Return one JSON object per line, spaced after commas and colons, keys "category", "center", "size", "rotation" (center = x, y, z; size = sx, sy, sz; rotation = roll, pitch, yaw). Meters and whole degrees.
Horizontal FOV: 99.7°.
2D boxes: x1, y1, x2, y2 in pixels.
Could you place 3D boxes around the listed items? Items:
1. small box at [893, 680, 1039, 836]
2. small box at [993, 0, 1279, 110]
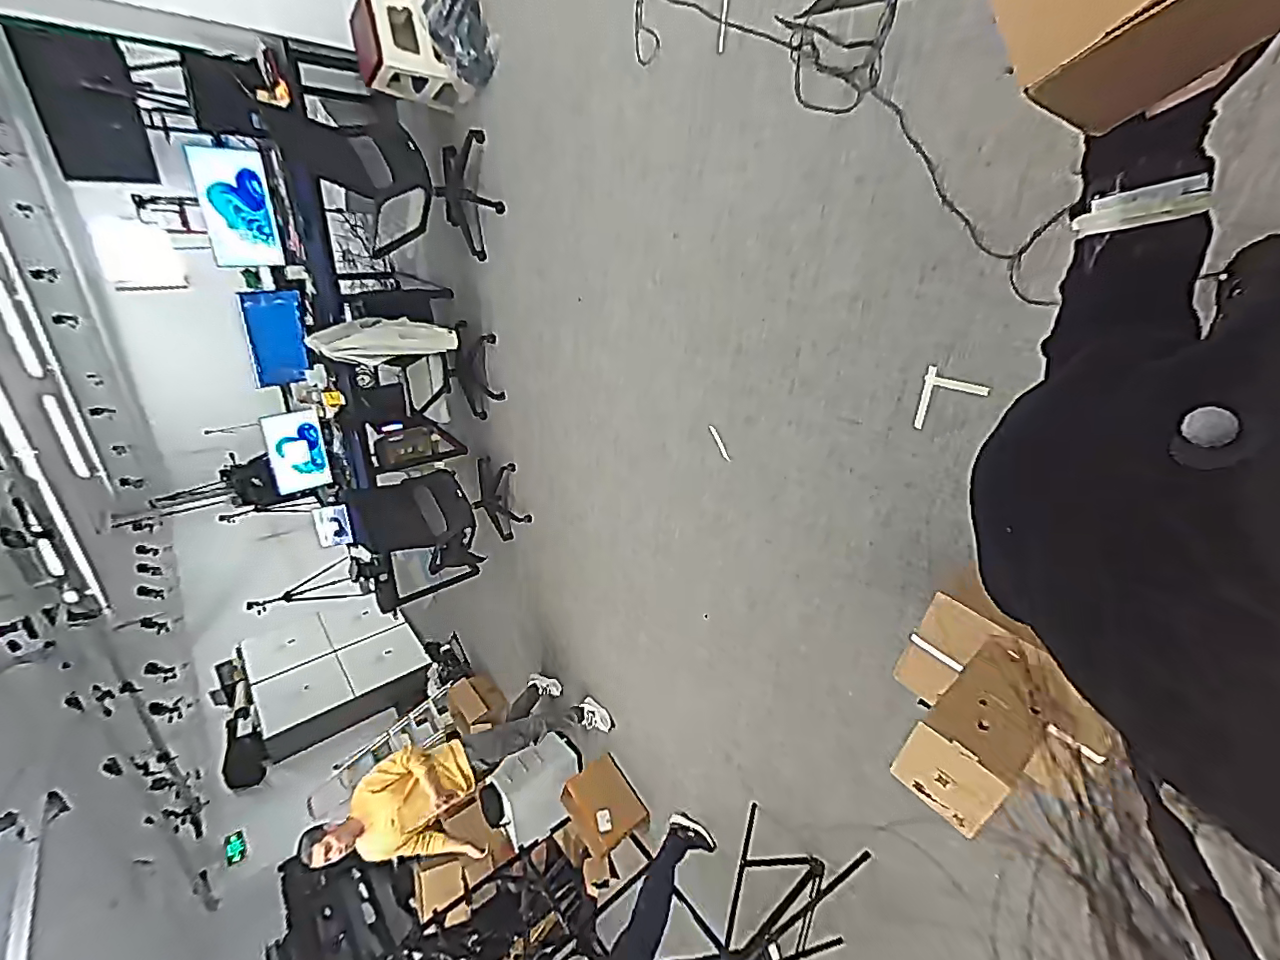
{"category": "small box", "center": [0.637, 0.530, 1.054], "size": [0.168, 0.176, 0.179], "rotation": [36, 131, 38]}
{"category": "small box", "center": [0.257, -0.302, 0.239], "size": [0.168, 0.176, 0.179], "rotation": [-22, 89, 51]}
